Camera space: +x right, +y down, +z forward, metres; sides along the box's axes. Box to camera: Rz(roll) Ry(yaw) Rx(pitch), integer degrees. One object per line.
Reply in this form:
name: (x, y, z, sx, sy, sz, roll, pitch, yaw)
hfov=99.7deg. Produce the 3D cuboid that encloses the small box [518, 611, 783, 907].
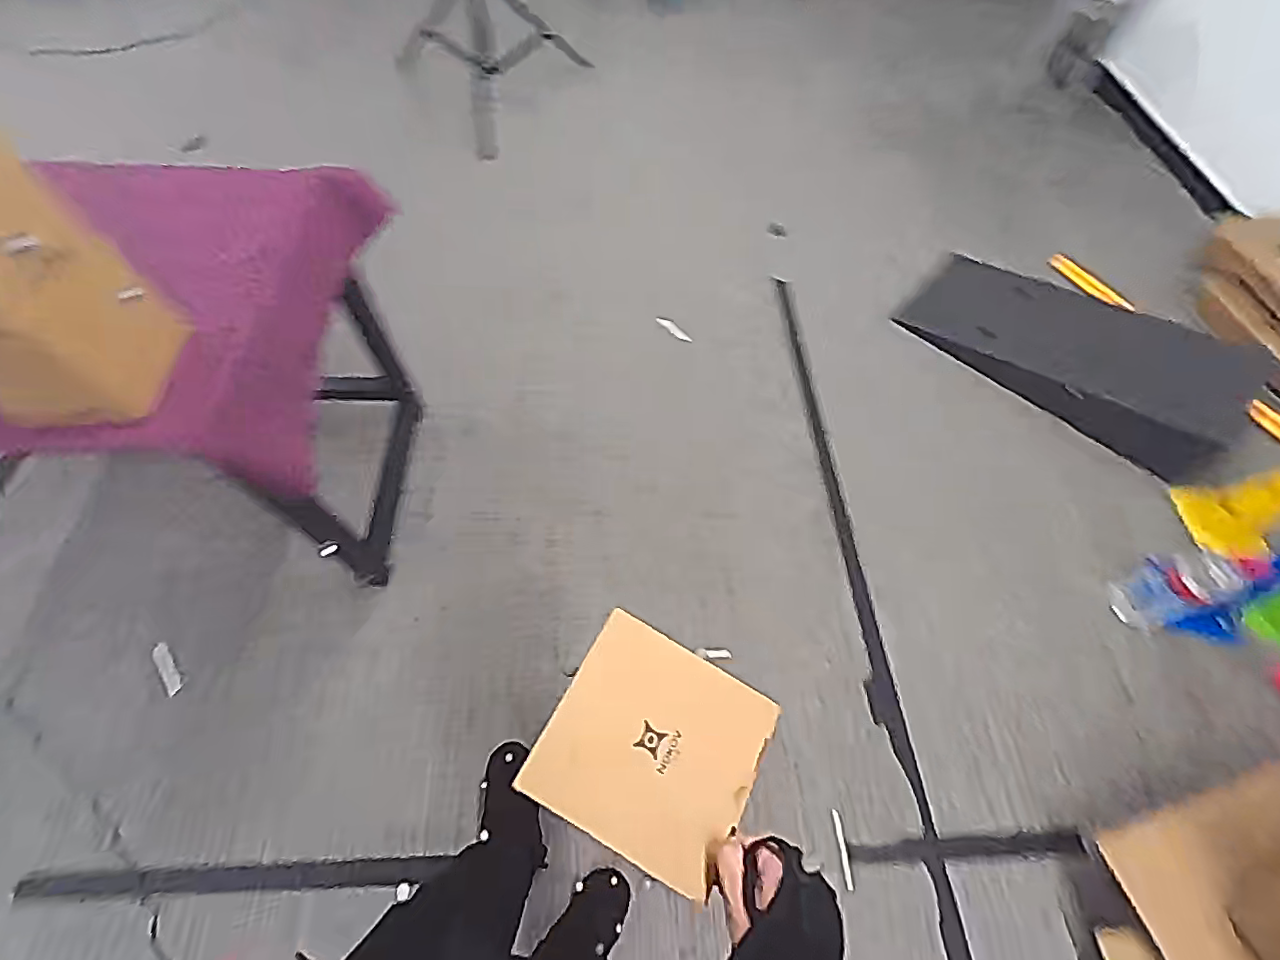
small box: (0.001, 0.254, 0.518, 0.179, 0.176, 0.168, 30, 63, 3)
